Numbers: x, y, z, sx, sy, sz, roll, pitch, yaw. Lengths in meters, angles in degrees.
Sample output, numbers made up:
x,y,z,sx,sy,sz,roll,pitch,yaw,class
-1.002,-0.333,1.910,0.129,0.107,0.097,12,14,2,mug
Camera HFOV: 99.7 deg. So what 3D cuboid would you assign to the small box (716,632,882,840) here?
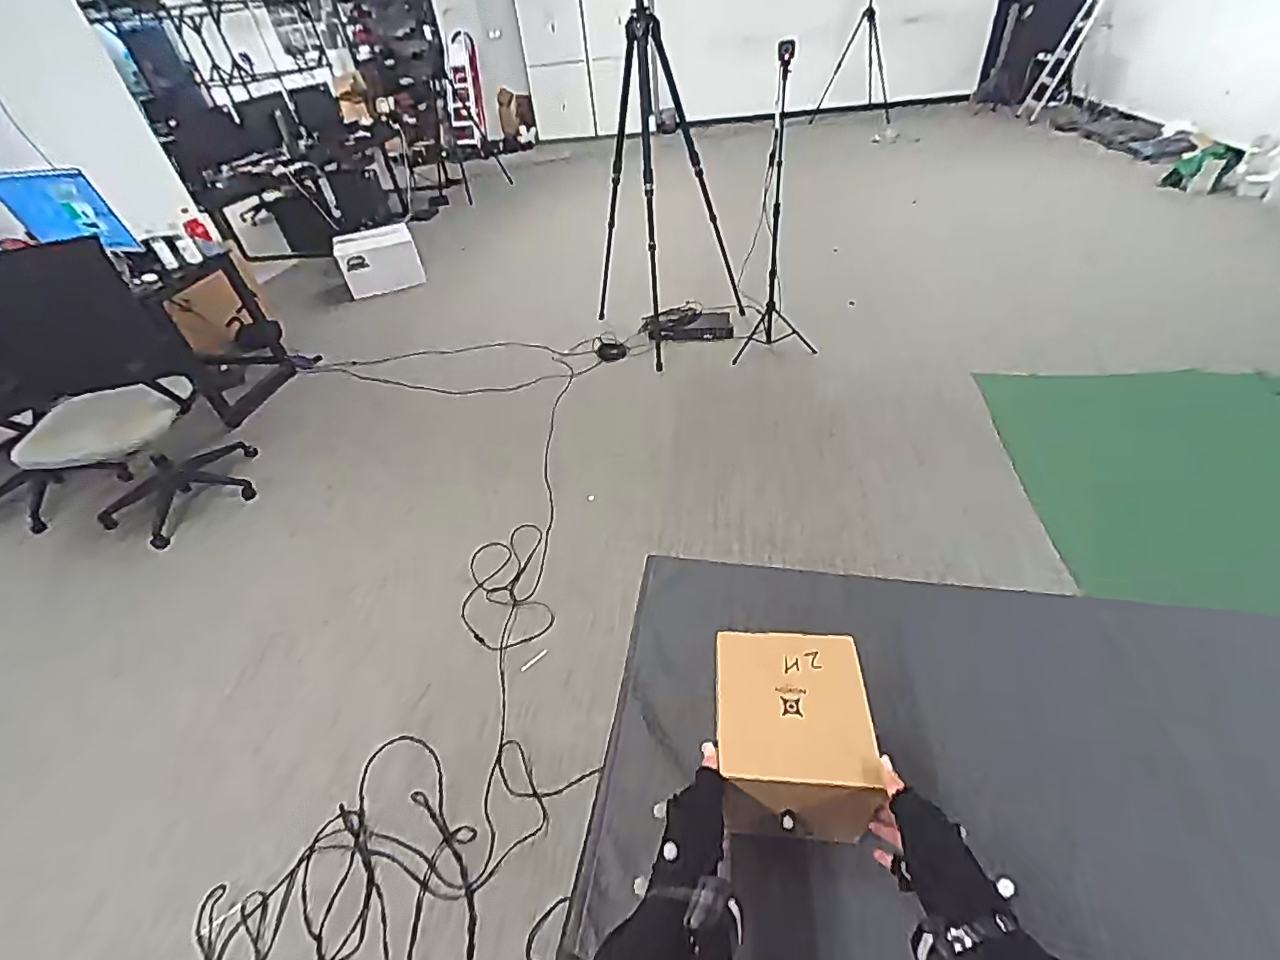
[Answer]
x,y,z,sx,sy,sz,roll,pitch,yaw,class
0.177,0.309,0.655,0.168,0.176,0.179,0,40,8,small box
